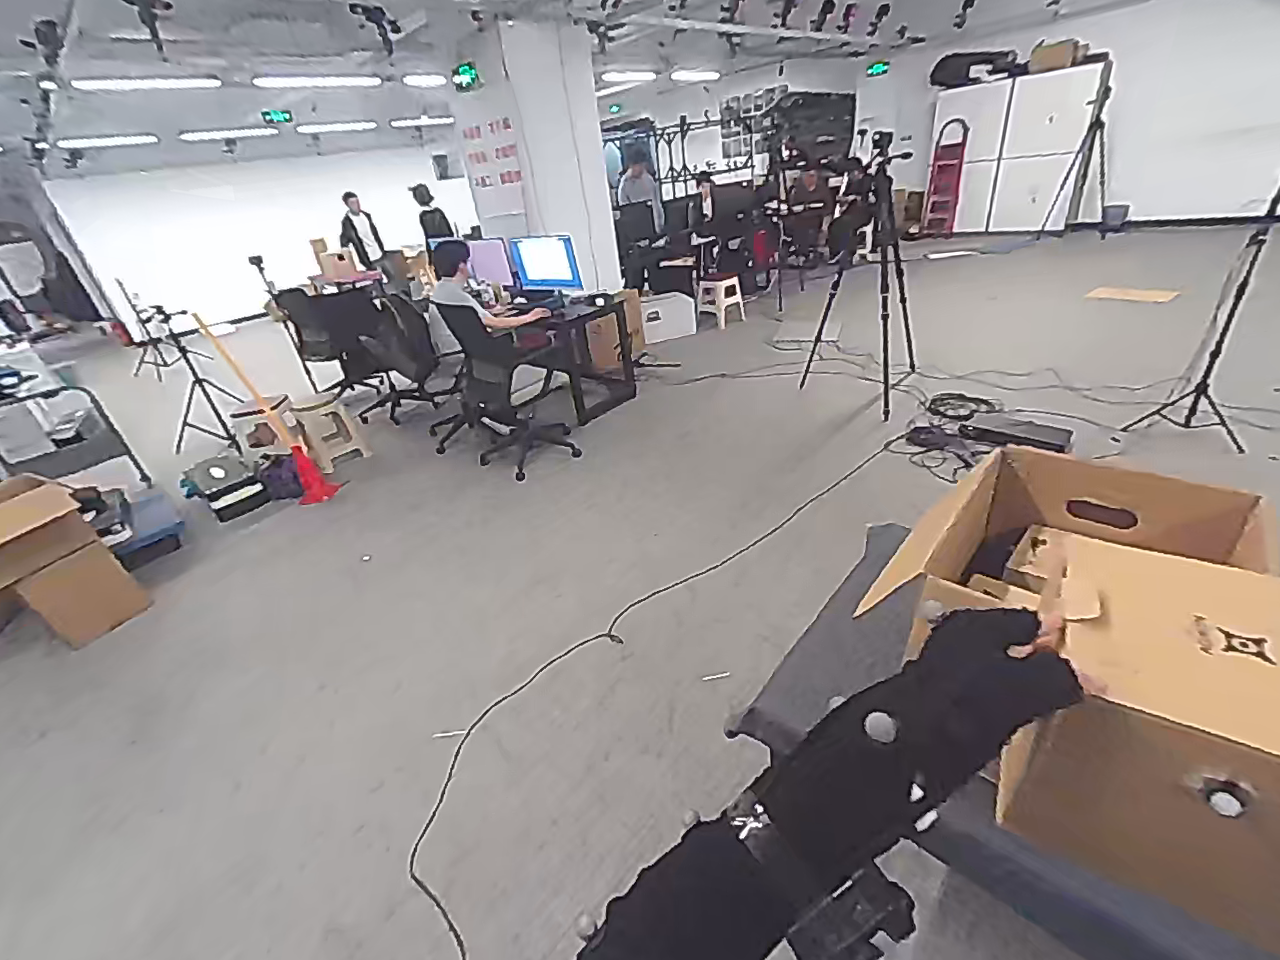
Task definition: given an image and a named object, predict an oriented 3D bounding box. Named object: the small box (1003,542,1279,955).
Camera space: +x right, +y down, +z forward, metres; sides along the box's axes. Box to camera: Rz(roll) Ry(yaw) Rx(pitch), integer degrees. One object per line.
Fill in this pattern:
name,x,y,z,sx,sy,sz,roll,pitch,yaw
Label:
small box,0.378,0.175,0.379,0.179,0.176,0.168,16,38,30
